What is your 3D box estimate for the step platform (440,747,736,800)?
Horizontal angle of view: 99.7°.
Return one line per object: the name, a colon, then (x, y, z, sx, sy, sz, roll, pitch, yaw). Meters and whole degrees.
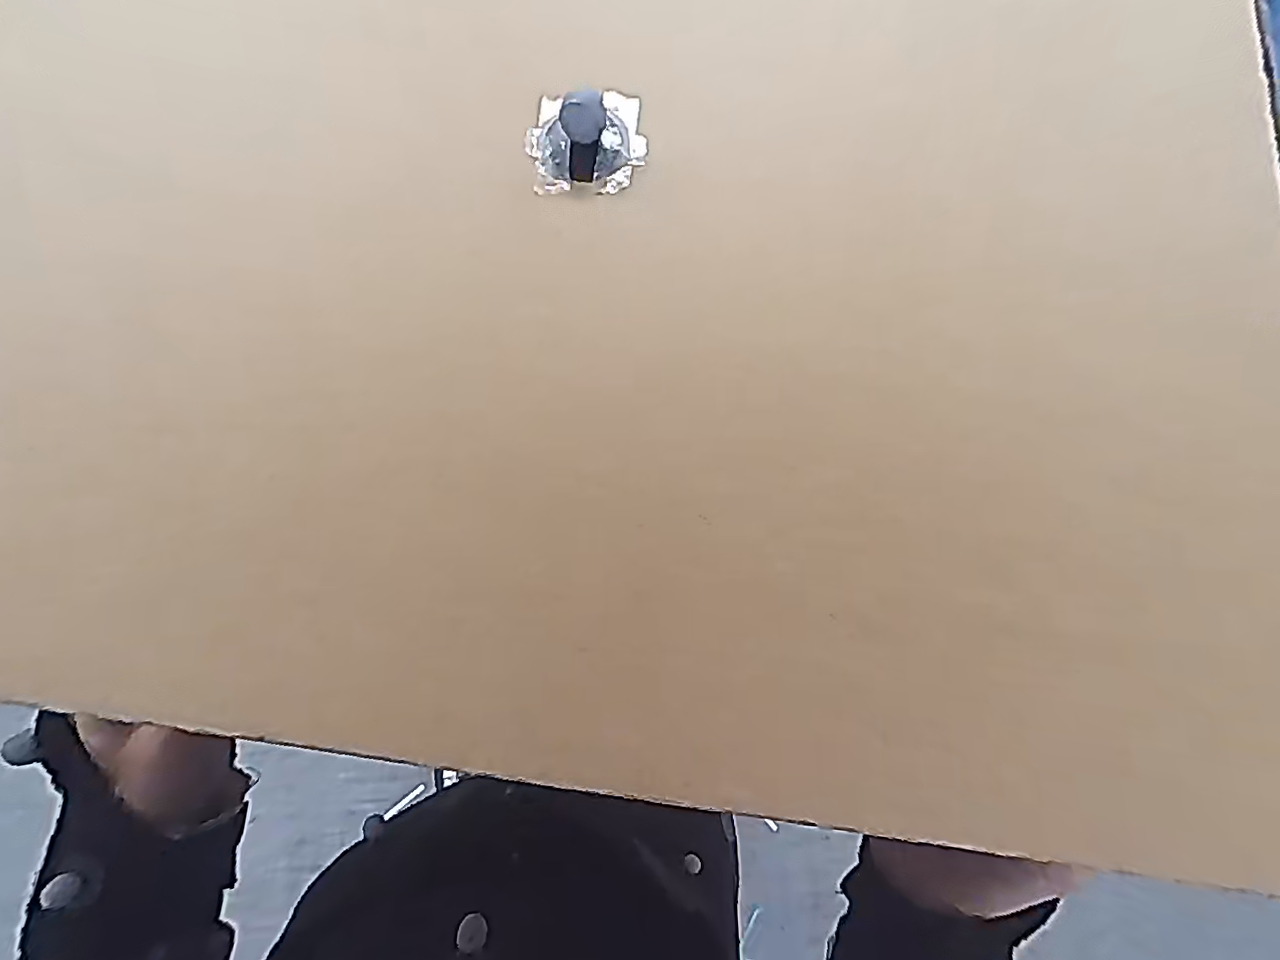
step platform: (-0.103, 0.550, 1.261, 0.684, 0.204, 0.286, 5, 74, -1)
